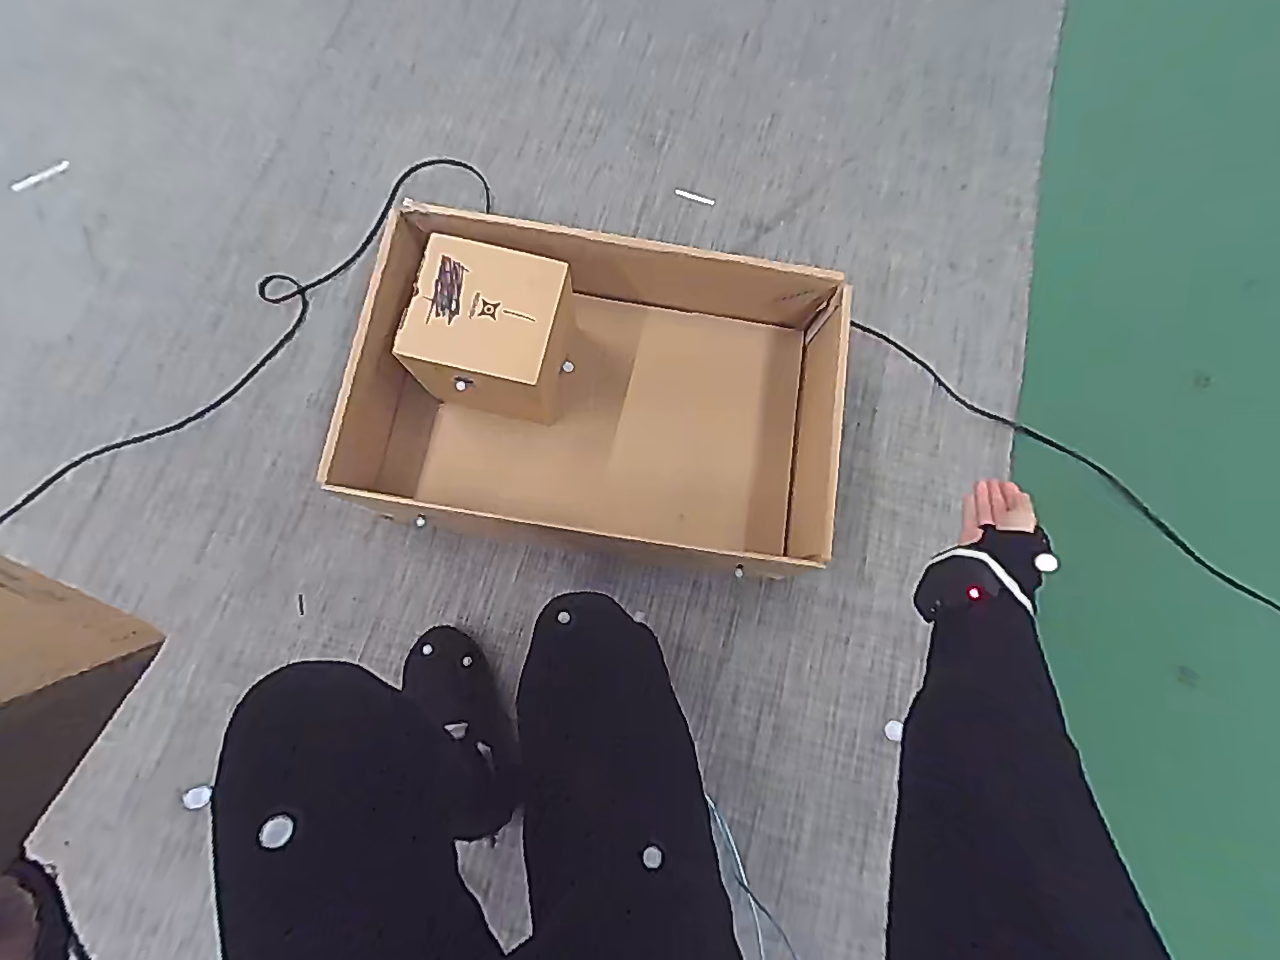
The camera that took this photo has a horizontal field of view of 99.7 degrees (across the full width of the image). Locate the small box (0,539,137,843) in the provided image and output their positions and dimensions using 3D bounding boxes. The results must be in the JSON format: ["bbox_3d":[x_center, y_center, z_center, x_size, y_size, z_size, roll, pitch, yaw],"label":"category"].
[{"bbox_3d":[-0.319,0.096,0.156,0.168,0.176,0.179,33,80,-11],"label":"small box"}]
